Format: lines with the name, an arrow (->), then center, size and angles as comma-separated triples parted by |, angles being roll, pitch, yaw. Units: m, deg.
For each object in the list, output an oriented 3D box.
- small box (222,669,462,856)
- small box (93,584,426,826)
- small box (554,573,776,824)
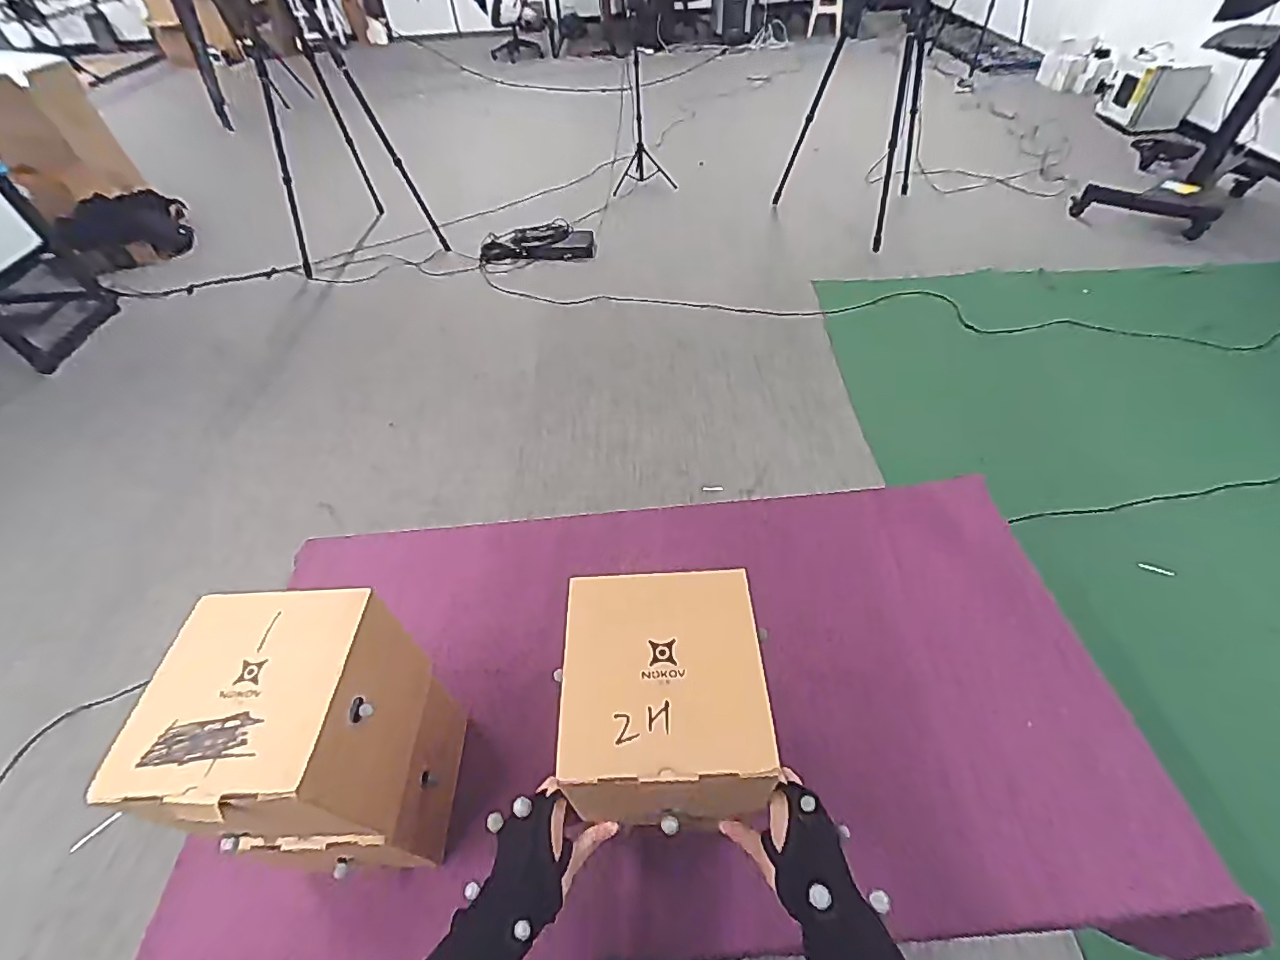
small box -> -0.324, 0.332, 0.636 | 0.168, 0.176, 0.179 | -1, 50, 1
small box -> -0.327, 0.218, 0.517 | 0.168, 0.176, 0.179 | -1, 48, 2
small box -> 0.022, 0.206, 0.509 | 0.168, 0.176, 0.179 | -2, 49, 2
